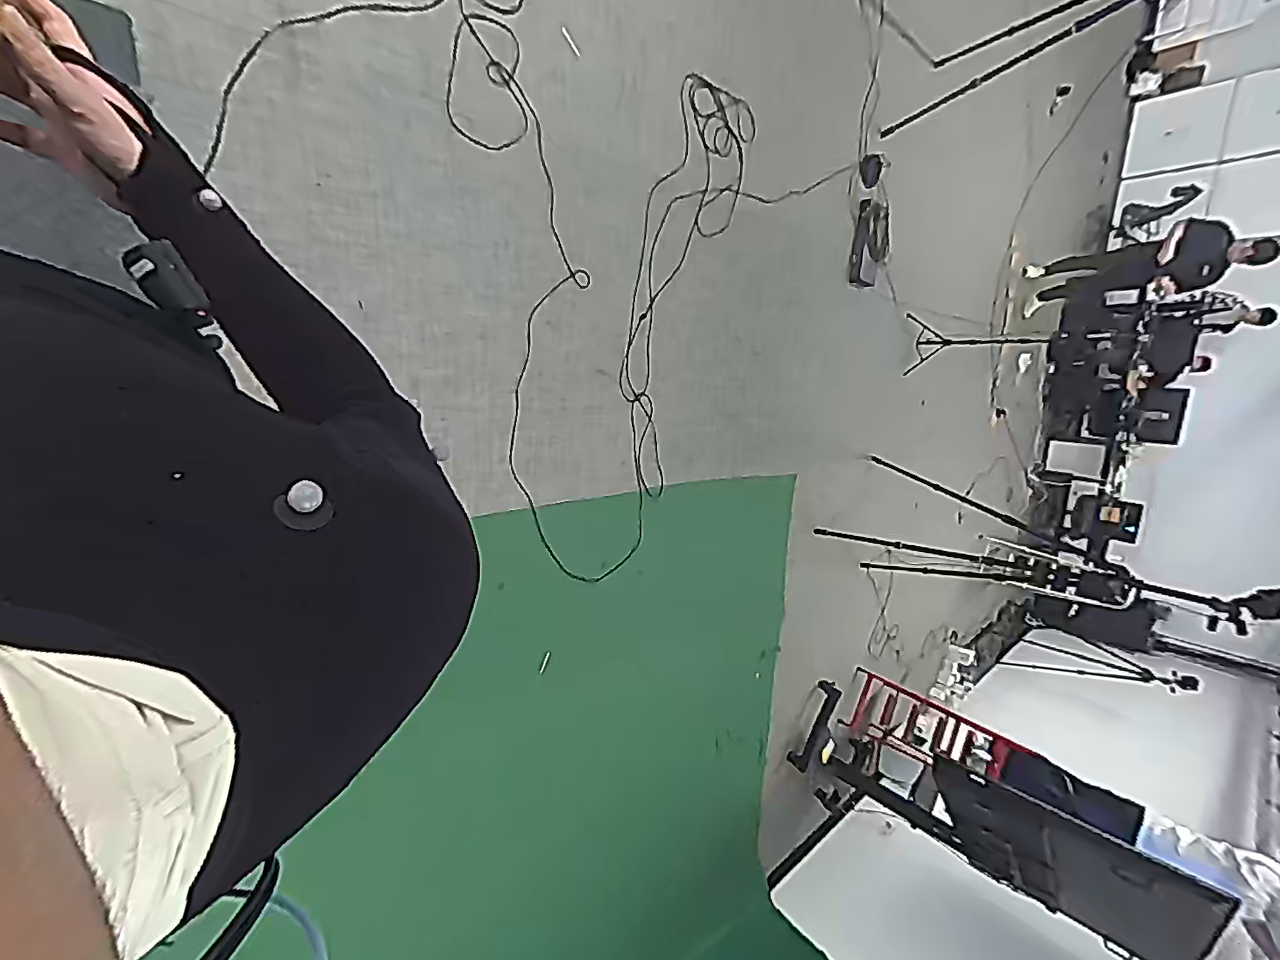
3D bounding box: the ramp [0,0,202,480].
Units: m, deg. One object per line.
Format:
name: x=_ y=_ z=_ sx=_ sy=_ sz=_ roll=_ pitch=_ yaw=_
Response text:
ramp: x=-1.271 y=-0.501 z=1.092 sx=0.509 sy=0.206 sz=0.991 roll=-11 pitch=106 yaw=-38
